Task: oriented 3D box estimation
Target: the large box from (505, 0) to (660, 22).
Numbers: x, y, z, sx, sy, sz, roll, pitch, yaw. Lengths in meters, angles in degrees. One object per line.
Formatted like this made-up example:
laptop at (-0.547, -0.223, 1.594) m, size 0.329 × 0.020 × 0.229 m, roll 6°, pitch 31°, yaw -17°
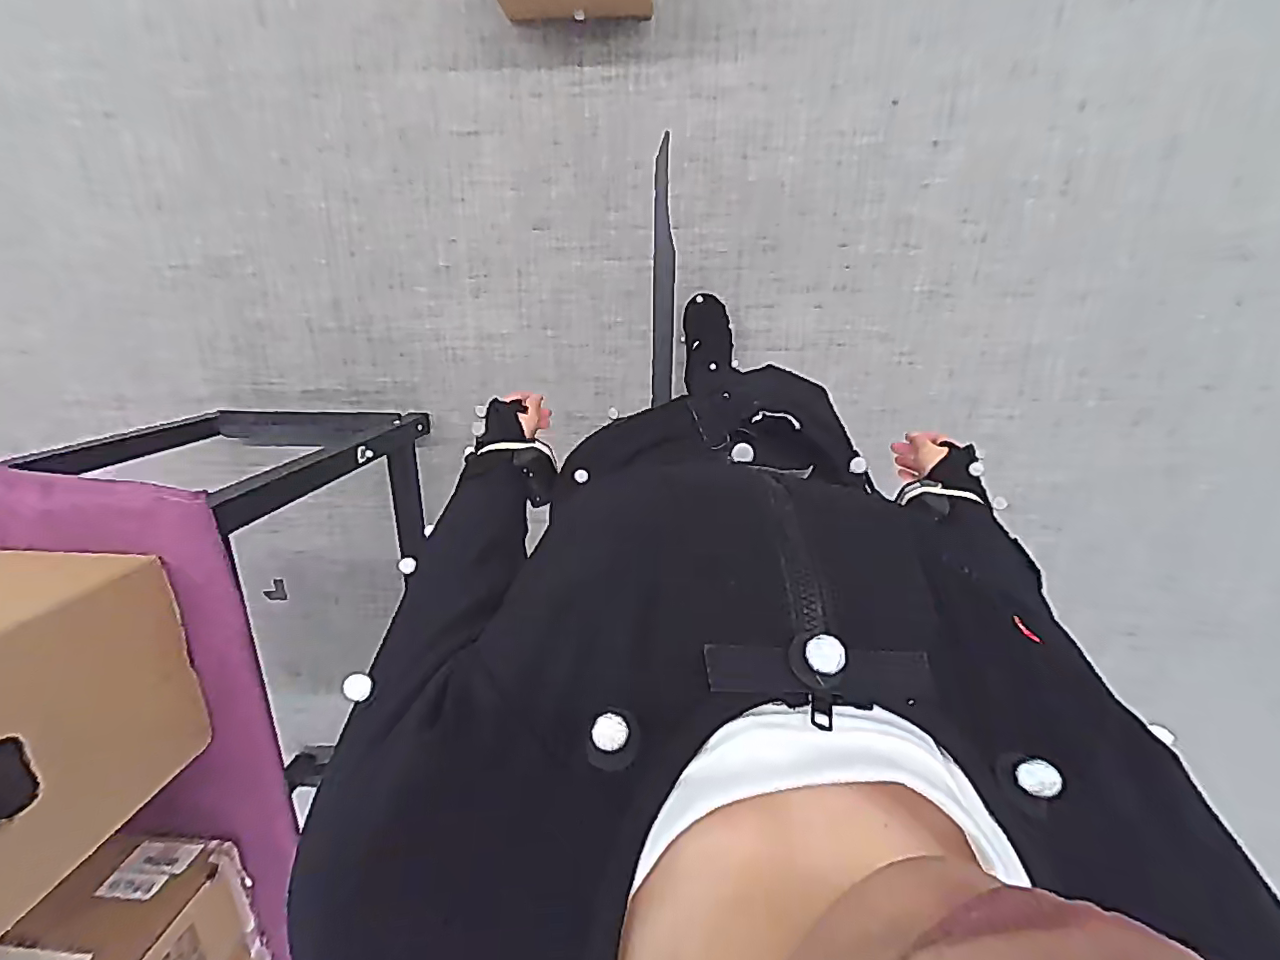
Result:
large box at (-0.125, -1.097, 0.916) m, size 0.320 × 0.320 × 0.408 m, roll 0°, pitch 108°, yaw 5°
